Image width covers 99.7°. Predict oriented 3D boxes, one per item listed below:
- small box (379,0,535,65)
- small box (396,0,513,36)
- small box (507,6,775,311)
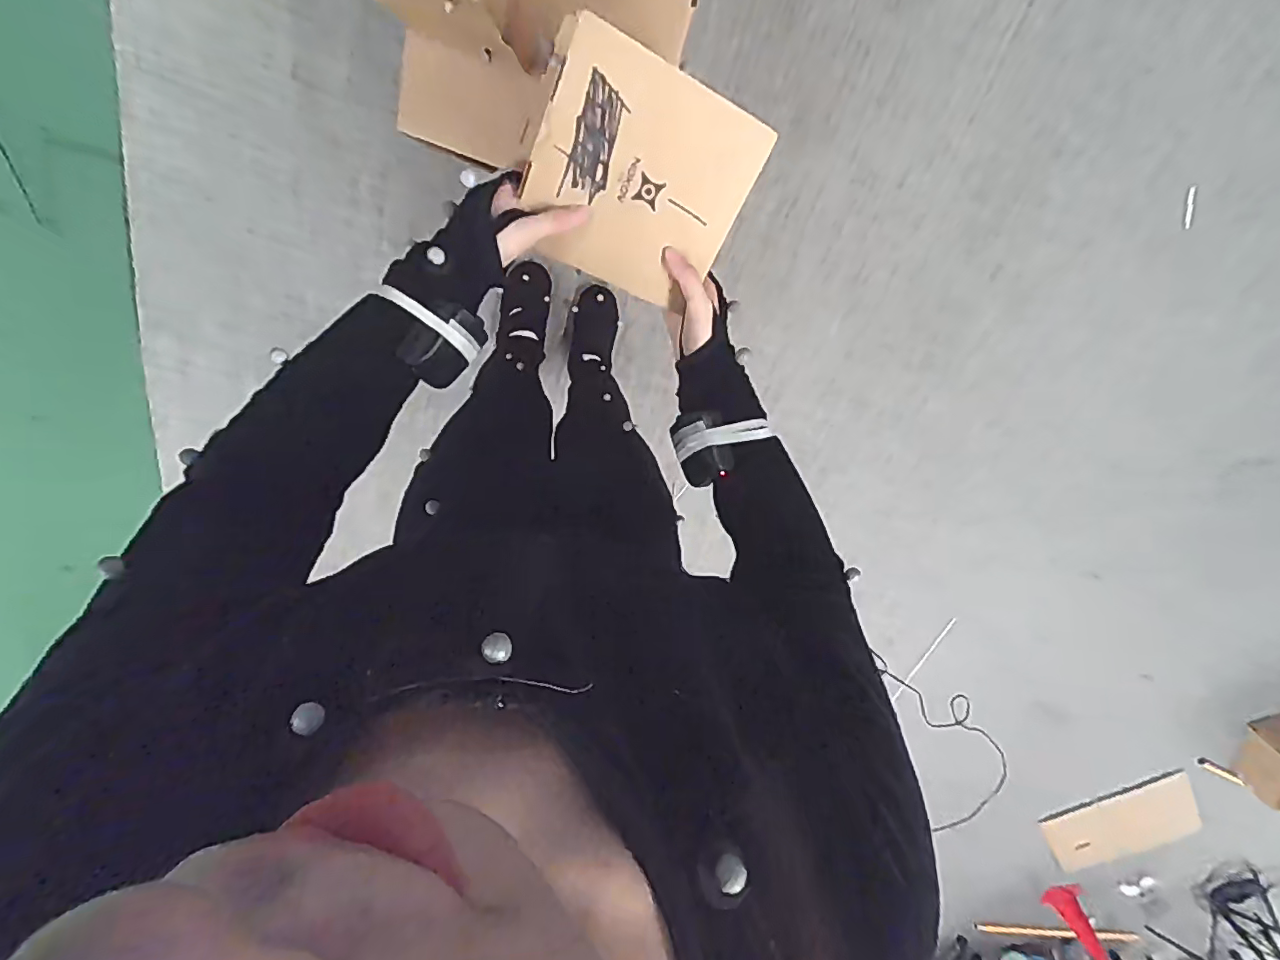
[{"bbox_3d":[-0.231,-0.686,0.719,0.179,0.176,0.168,13,115,-10],"label":"small box"},{"bbox_3d":[-0.224,-0.615,0.573,0.179,0.176,0.168,13,114,-12],"label":"small box"},{"bbox_3d":[-0.011,-0.292,0.513,0.179,0.176,0.168,19,120,-20],"label":"small box"}]
